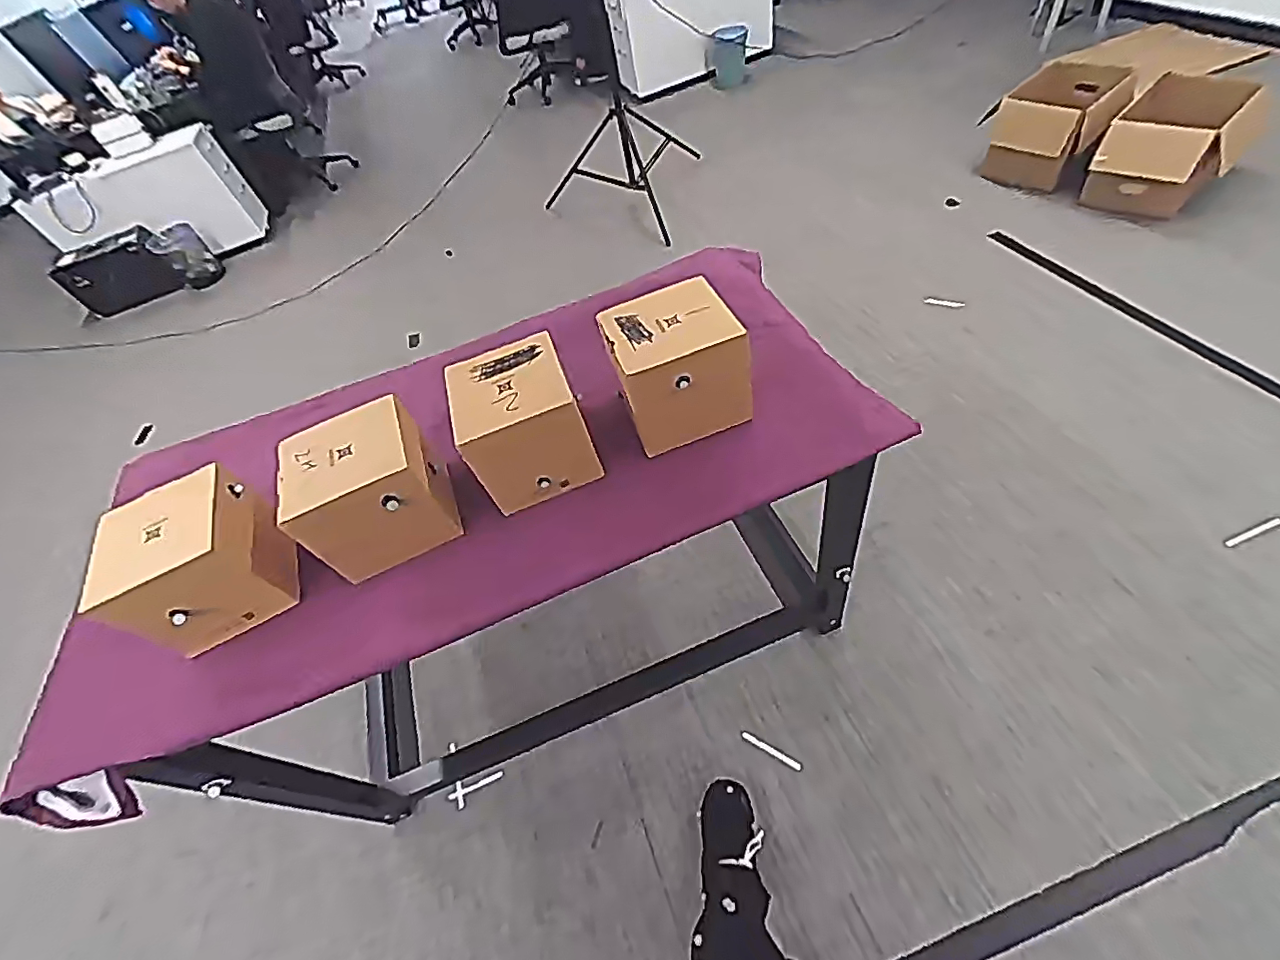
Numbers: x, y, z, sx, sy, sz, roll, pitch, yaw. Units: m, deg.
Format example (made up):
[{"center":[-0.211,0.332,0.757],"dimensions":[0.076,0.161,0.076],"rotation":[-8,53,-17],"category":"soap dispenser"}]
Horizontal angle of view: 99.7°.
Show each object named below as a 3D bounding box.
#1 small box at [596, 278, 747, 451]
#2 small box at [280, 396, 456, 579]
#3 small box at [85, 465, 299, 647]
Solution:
[{"center":[0.052,-0.171,0.828],"dimensions":[0.179,0.176,0.168],"rotation":[-20,50,-3],"category":"small box"},{"center":[-0.390,0.015,0.798],"dimensions":[0.179,0.176,0.168],"rotation":[-26,51,-6],"category":"small box"},{"center":[-0.624,0.118,0.780],"dimensions":[0.168,0.176,0.179],"rotation":[-28,51,-8],"category":"small box"}]
